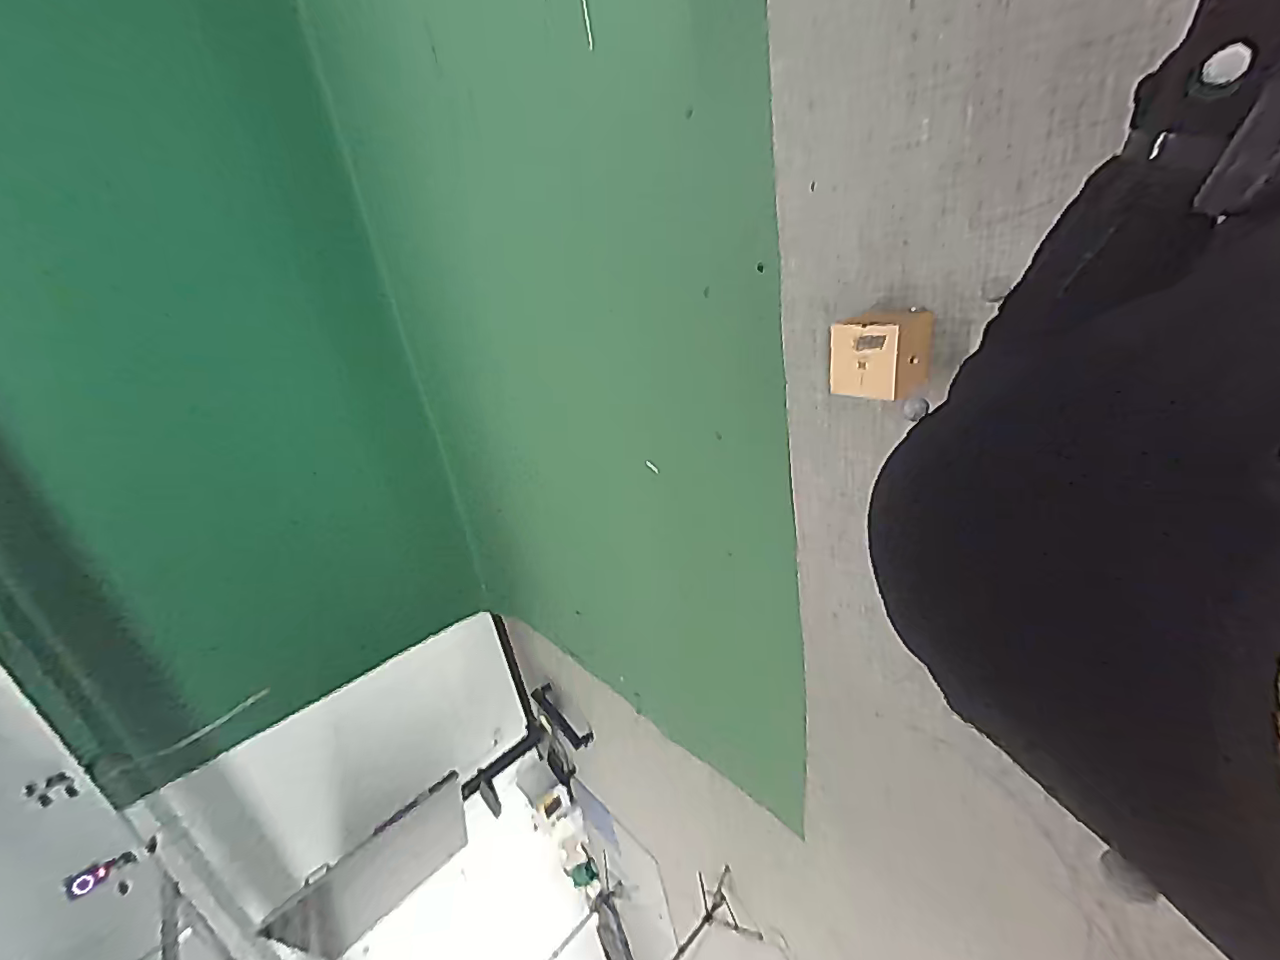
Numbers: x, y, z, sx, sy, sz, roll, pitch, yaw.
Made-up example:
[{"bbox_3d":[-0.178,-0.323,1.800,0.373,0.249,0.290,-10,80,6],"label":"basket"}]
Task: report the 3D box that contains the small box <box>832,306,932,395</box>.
[{"bbox_3d":[0.588,-0.322,1.312,0.168,0.176,0.179,20,128,45],"label":"small box"}]
